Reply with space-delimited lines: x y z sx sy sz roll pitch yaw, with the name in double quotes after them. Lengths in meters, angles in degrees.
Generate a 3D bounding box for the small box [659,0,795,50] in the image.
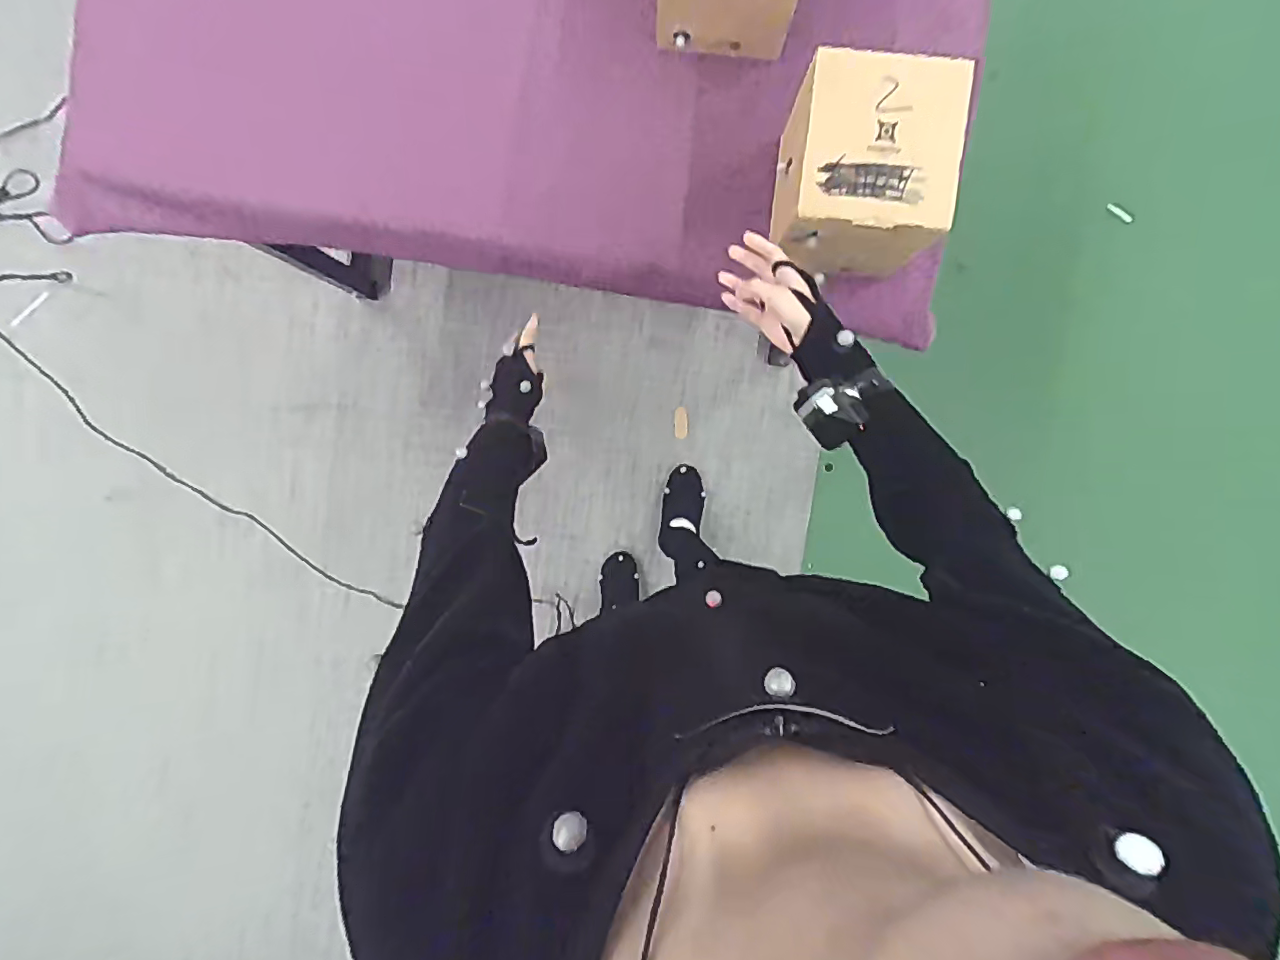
0.112 -0.649 0.627 0.168 0.176 0.179 7 93 0 "small box"
